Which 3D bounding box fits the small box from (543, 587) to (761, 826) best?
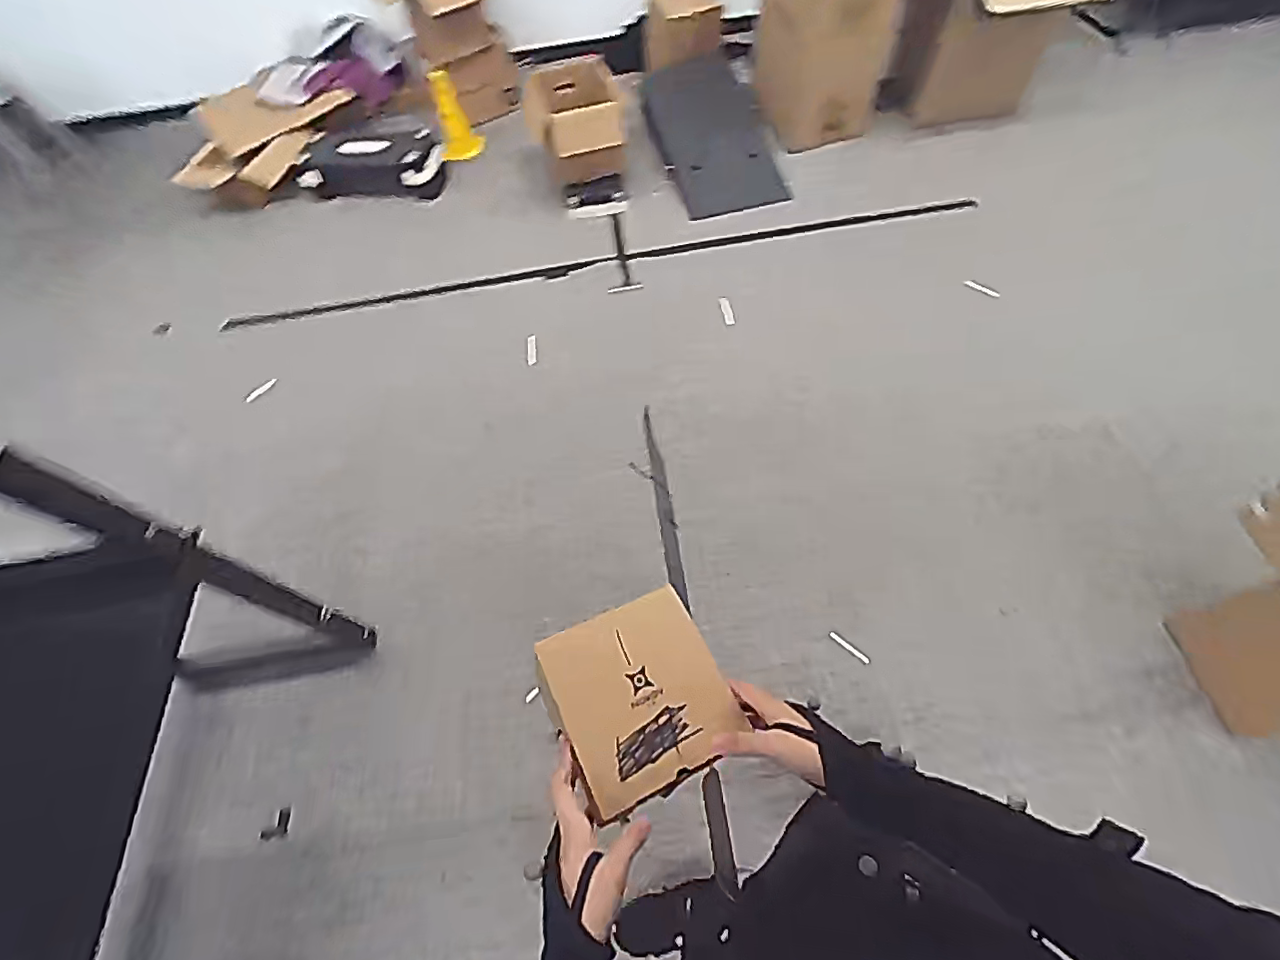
[{"bbox_3d":[0.001,0.252,0.597,0.168,0.176,0.179,-18,59,-21],"label":"small box"}]
